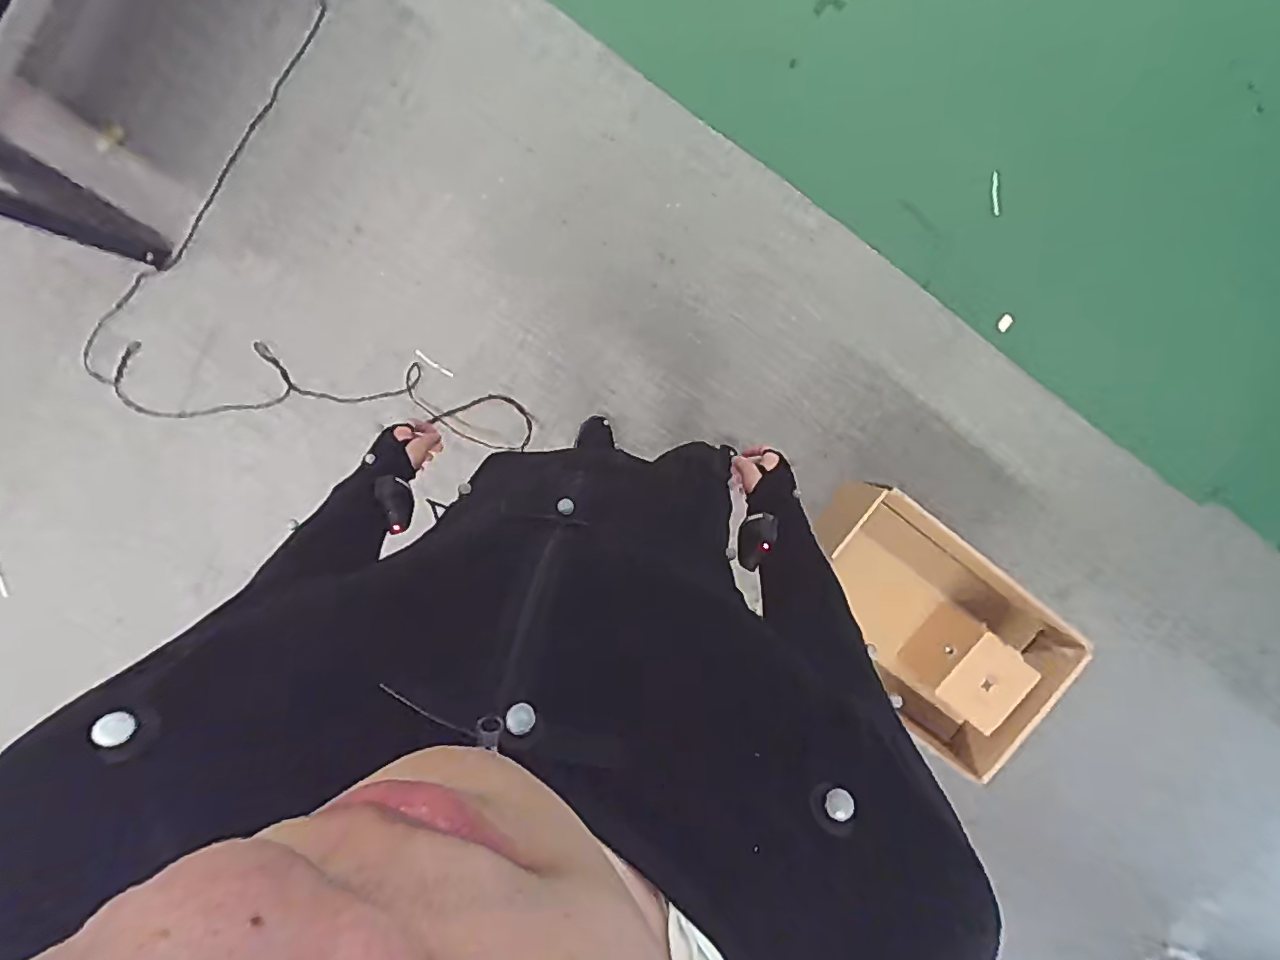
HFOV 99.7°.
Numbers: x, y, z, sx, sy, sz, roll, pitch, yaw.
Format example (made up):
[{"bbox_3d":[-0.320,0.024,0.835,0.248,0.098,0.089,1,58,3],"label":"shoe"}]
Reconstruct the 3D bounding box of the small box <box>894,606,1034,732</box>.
[{"bbox_3d":[0.724,0.419,1.229,0.168,0.176,0.179,39,94,-7],"label":"small box"}]
